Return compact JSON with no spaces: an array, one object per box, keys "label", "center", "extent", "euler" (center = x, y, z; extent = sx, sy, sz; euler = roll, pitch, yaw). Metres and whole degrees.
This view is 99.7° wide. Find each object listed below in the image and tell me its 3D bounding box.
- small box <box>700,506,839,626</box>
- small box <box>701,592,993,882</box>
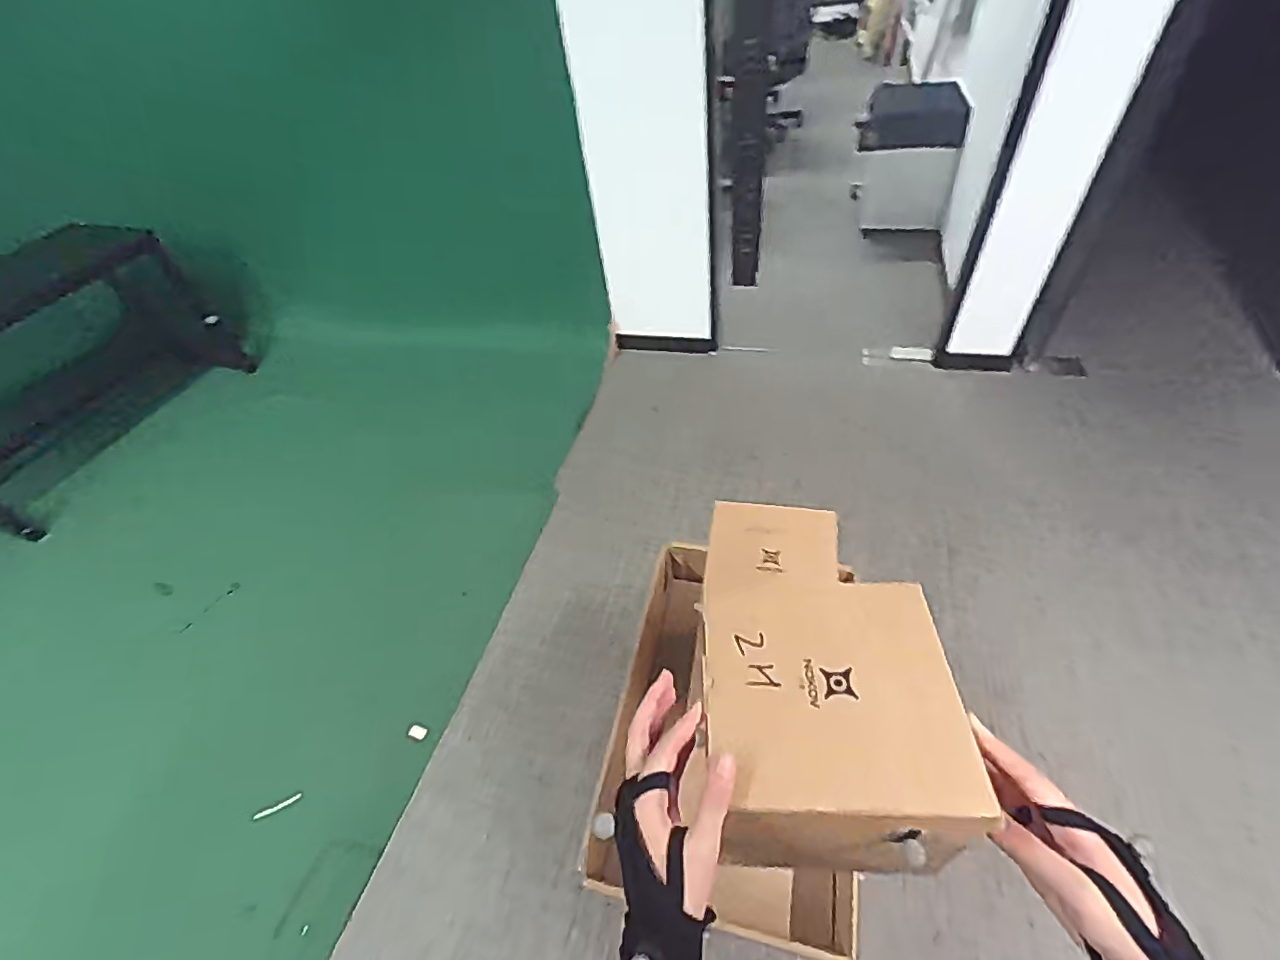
[{"label":"small box","center":[0.182,0.162,0.760],"extent":[0.168,0.176,0.179],"euler":[6,52,13]},{"label":"small box","center":[0.140,0.208,0.442],"extent":[0.179,0.176,0.168],"euler":[-3,42,8]}]
